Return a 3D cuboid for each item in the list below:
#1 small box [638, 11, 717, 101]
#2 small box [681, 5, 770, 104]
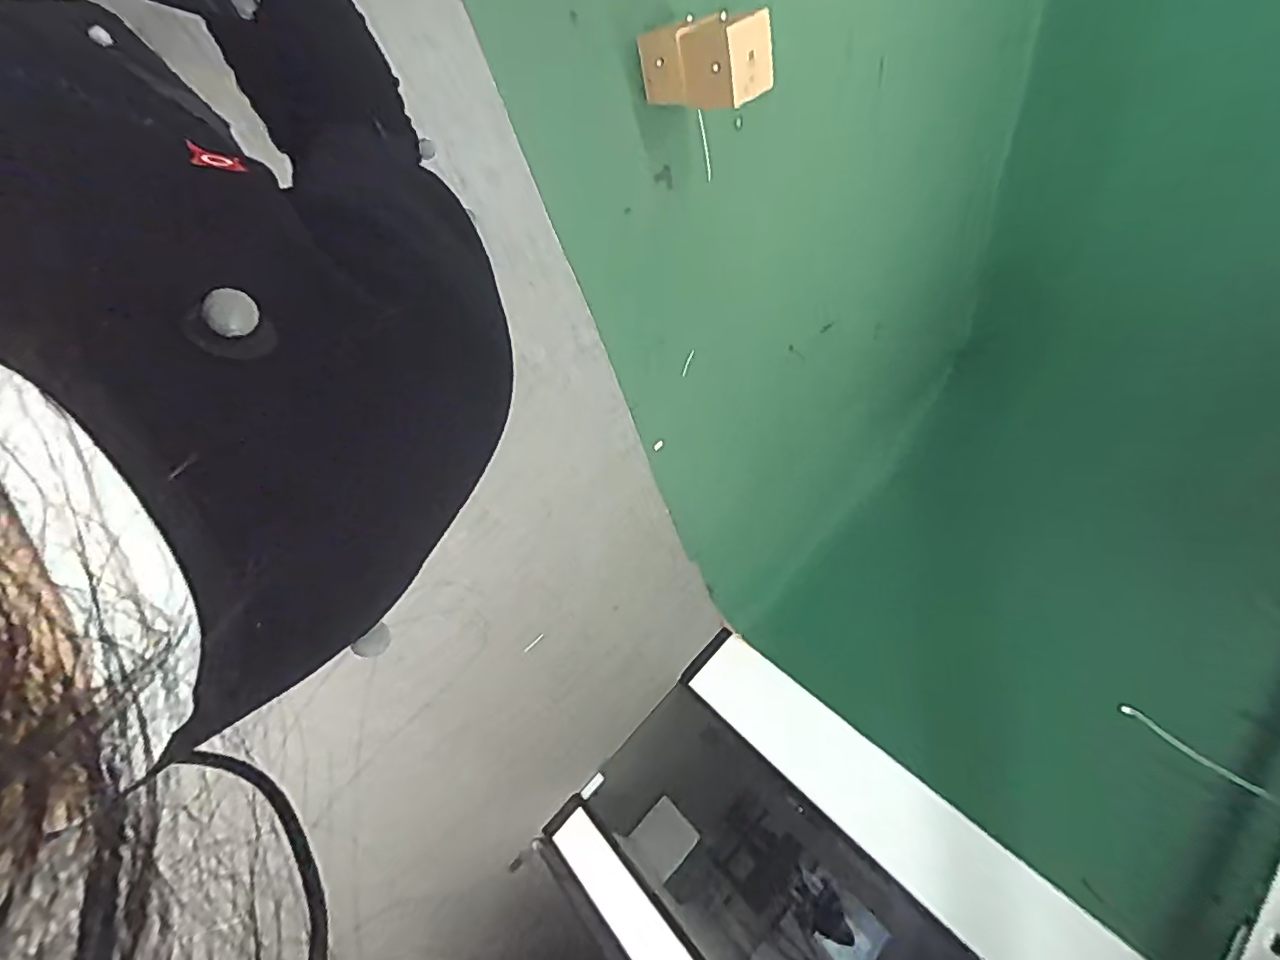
[{"bbox_3d":[0.112,-1.208,1.550,0.179,0.176,0.168,-40,138,-21],"label":"small box"},{"bbox_3d":[0.229,-1.139,1.457,0.168,0.176,0.179,-40,139,-20],"label":"small box"}]
